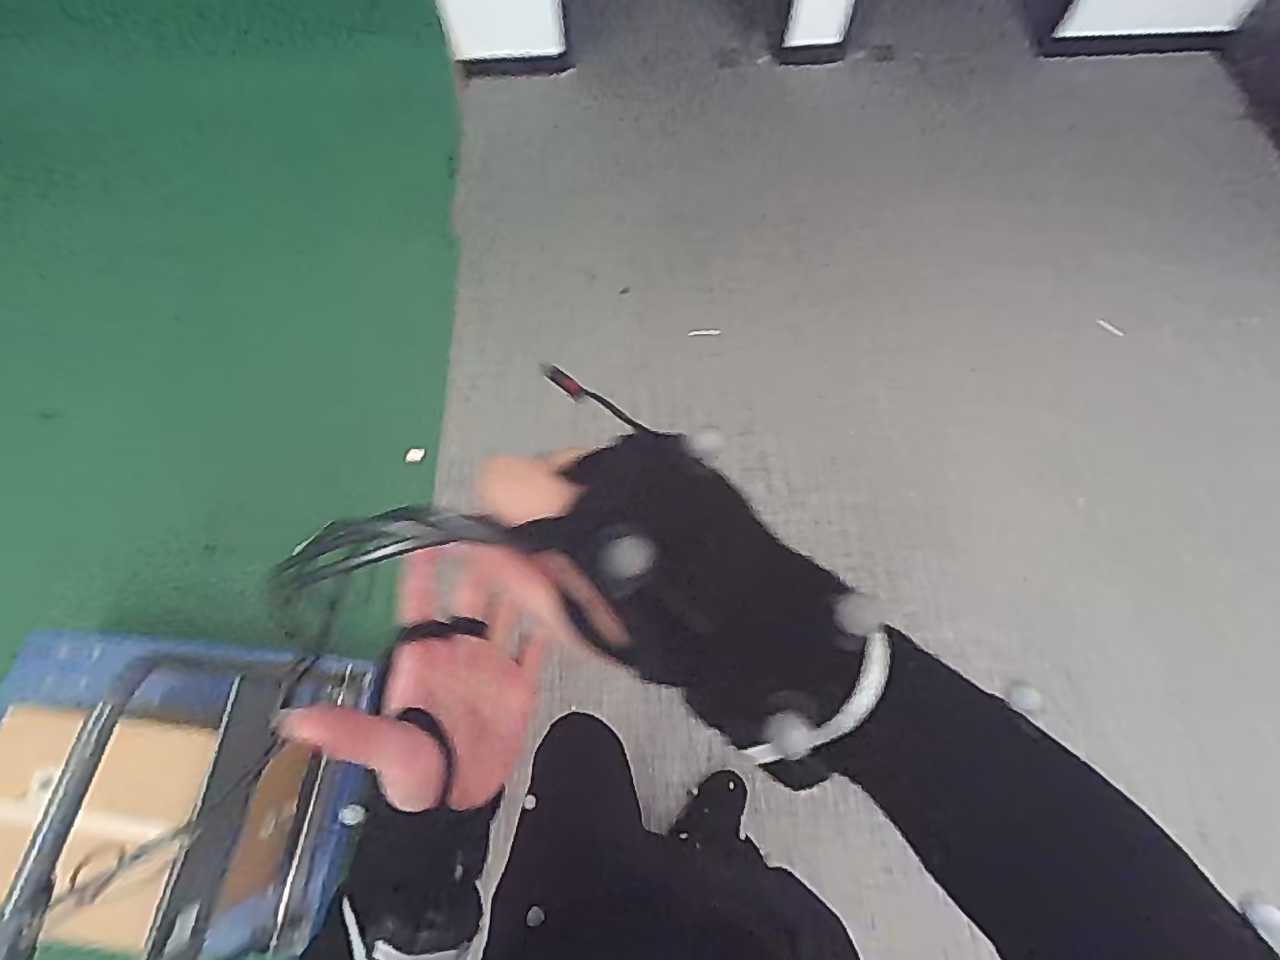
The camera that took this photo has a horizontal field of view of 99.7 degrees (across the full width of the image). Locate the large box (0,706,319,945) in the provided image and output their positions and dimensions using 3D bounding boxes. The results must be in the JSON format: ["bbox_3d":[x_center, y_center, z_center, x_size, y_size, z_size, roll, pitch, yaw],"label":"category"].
[{"bbox_3d":[-0.939,0.629,1.054,0.408,0.320,0.320,6,67,4],"label":"large box"}]
